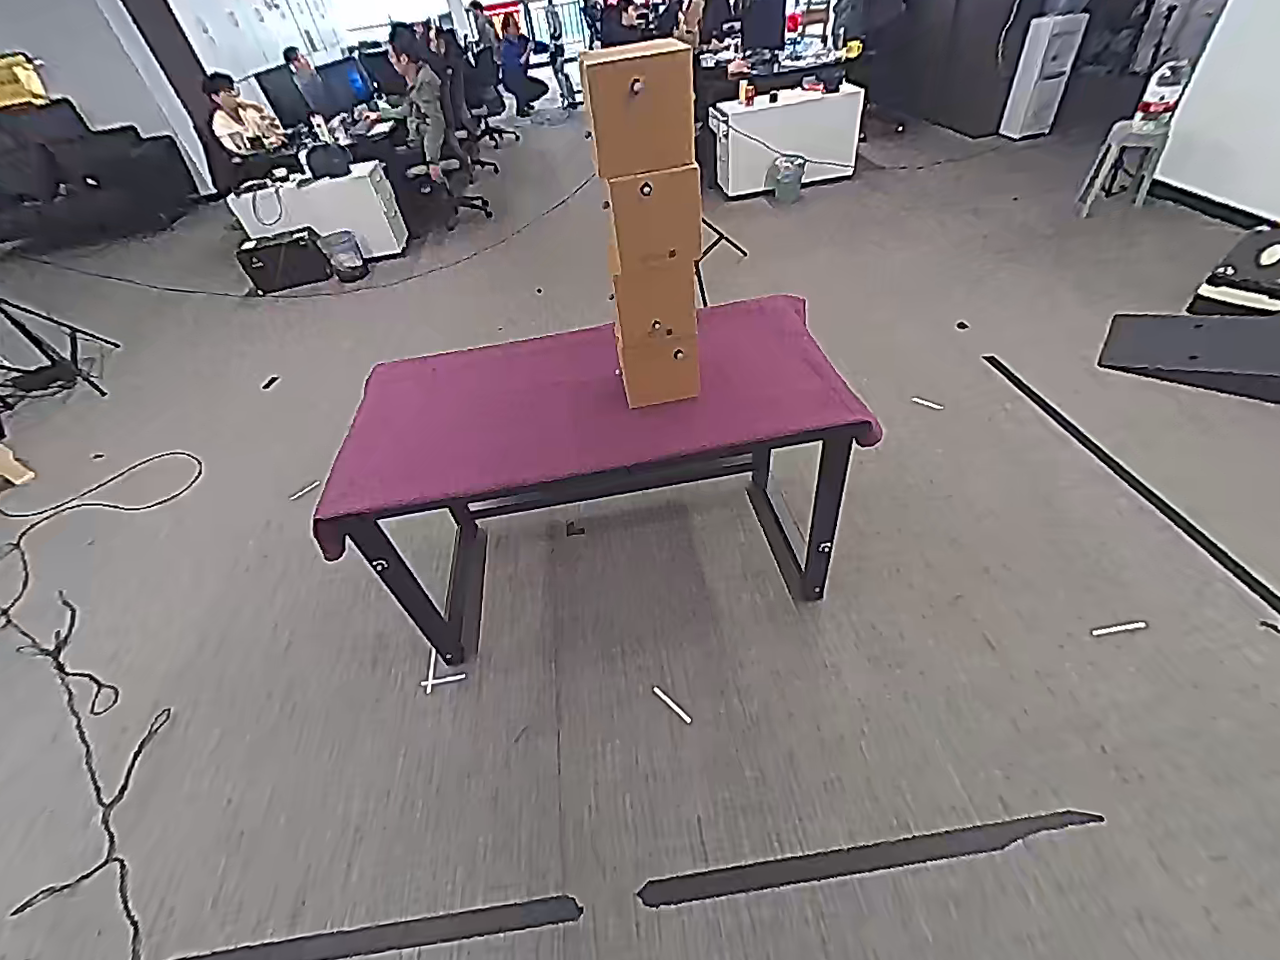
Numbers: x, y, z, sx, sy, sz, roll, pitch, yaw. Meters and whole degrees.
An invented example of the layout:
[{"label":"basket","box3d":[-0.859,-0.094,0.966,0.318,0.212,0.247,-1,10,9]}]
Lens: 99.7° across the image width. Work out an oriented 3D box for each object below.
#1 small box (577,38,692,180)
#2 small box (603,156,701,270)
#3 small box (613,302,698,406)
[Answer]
[{"label":"small box","box3d":[-0.007,-0.660,0.964,0.179,0.176,0.168,-12,44,-2]},{"label":"small box","box3d":[0.021,-0.537,1.069,0.168,0.176,0.179,-11,44,-2]},{"label":"small box","box3d":[0.040,-0.300,1.295,0.179,0.176,0.168,-11,43,-1]}]
